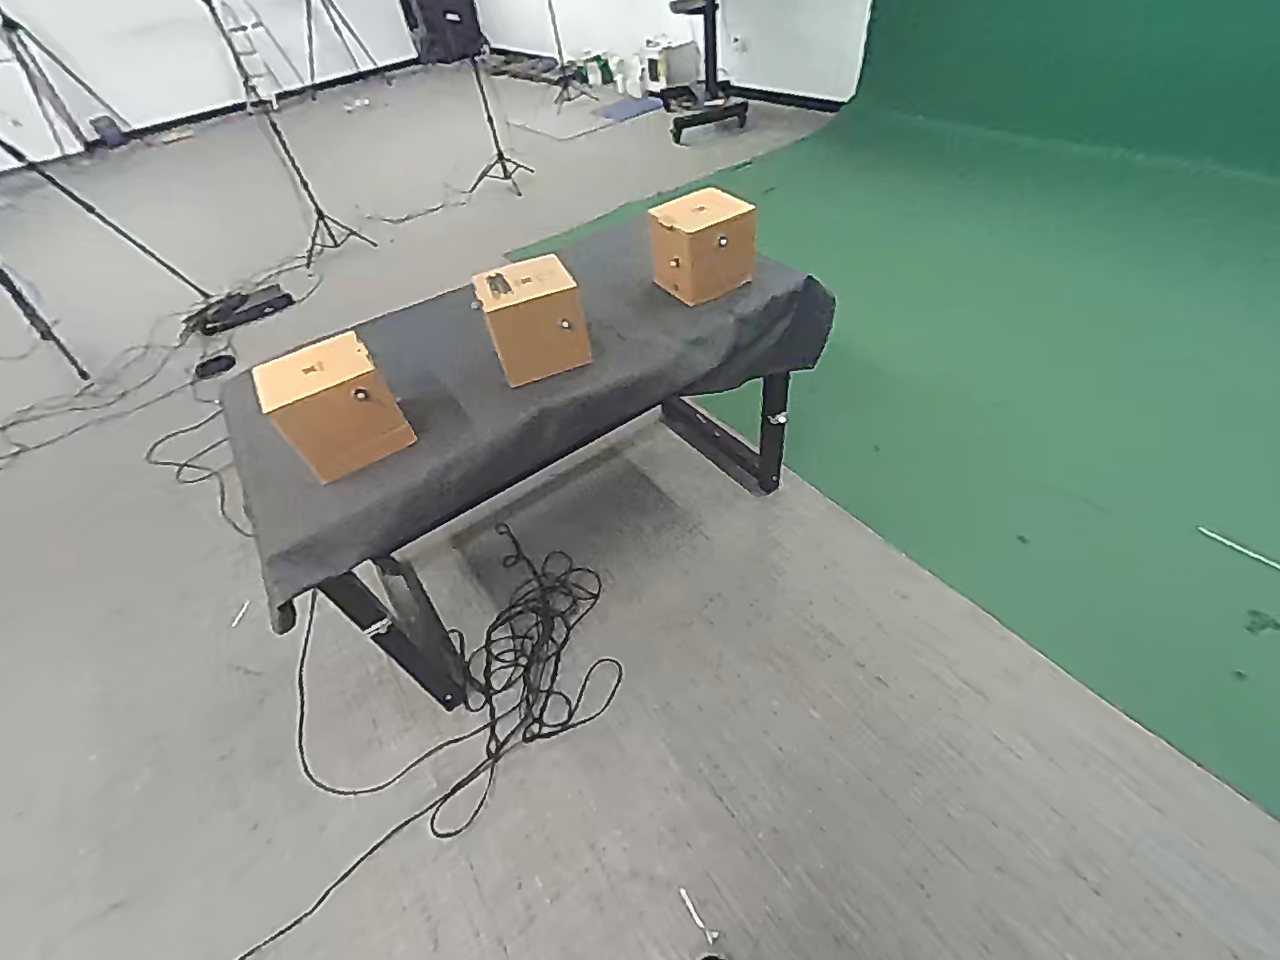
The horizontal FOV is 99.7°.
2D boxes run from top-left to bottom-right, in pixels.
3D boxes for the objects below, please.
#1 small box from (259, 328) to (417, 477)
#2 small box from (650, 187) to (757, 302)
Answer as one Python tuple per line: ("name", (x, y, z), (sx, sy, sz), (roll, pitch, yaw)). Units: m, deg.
("small box", (-0.531, -0.136, 0.962), (0.179, 0.176, 0.168), (-29, 49, -18))
("small box", (0.144, -0.525, 1.212), (0.179, 0.176, 0.168), (-26, 50, -16))
